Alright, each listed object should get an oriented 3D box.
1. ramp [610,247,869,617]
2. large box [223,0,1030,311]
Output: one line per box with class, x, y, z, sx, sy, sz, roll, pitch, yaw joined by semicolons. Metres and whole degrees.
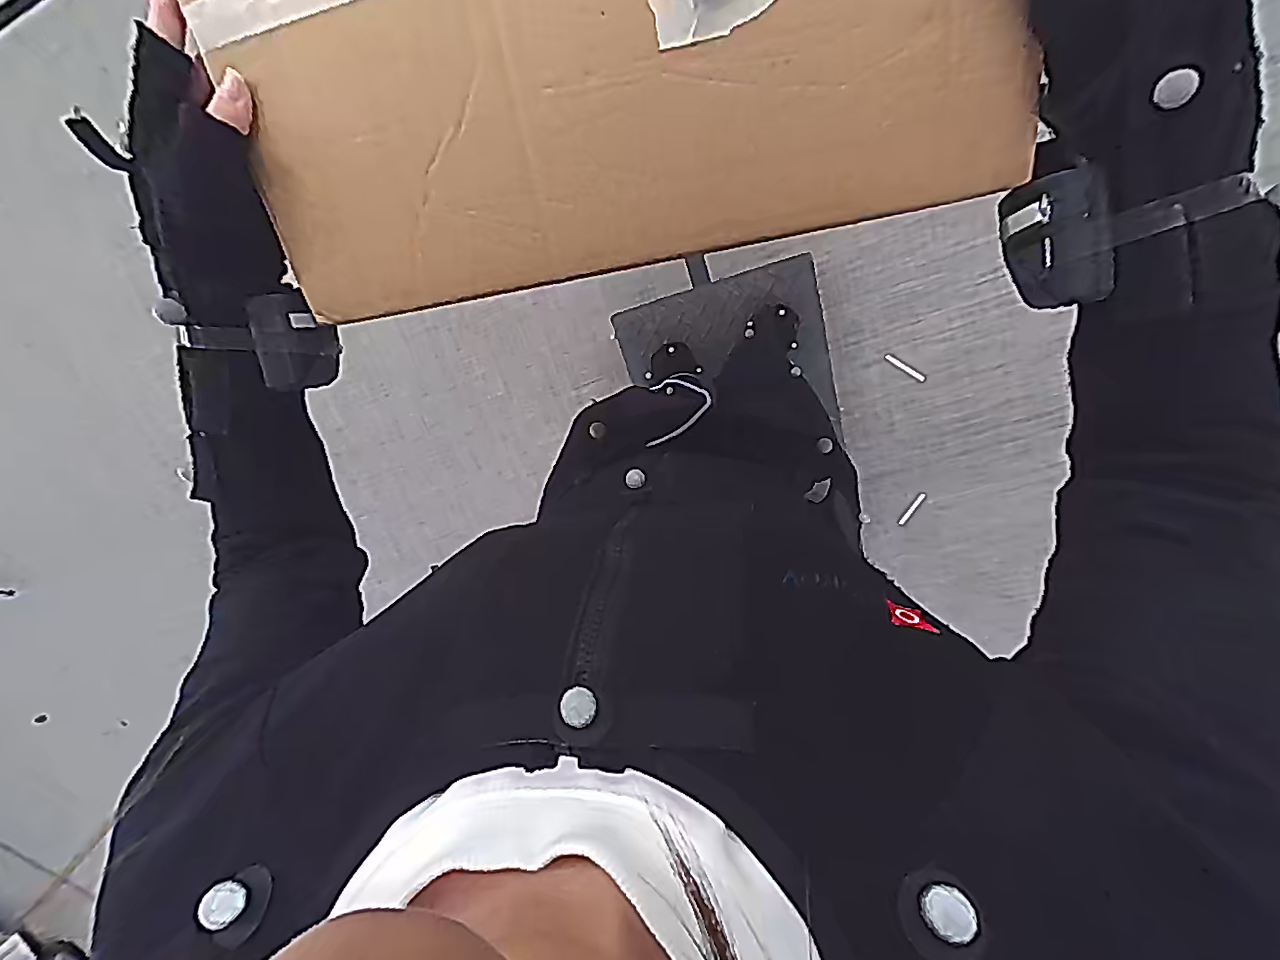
ramp;0.308;-0.048;1.474;0.509;0.206;0.991;-16;104;13
large box;-0.011;-0.333;0.387;0.408;0.320;0.320;-7;114;12
